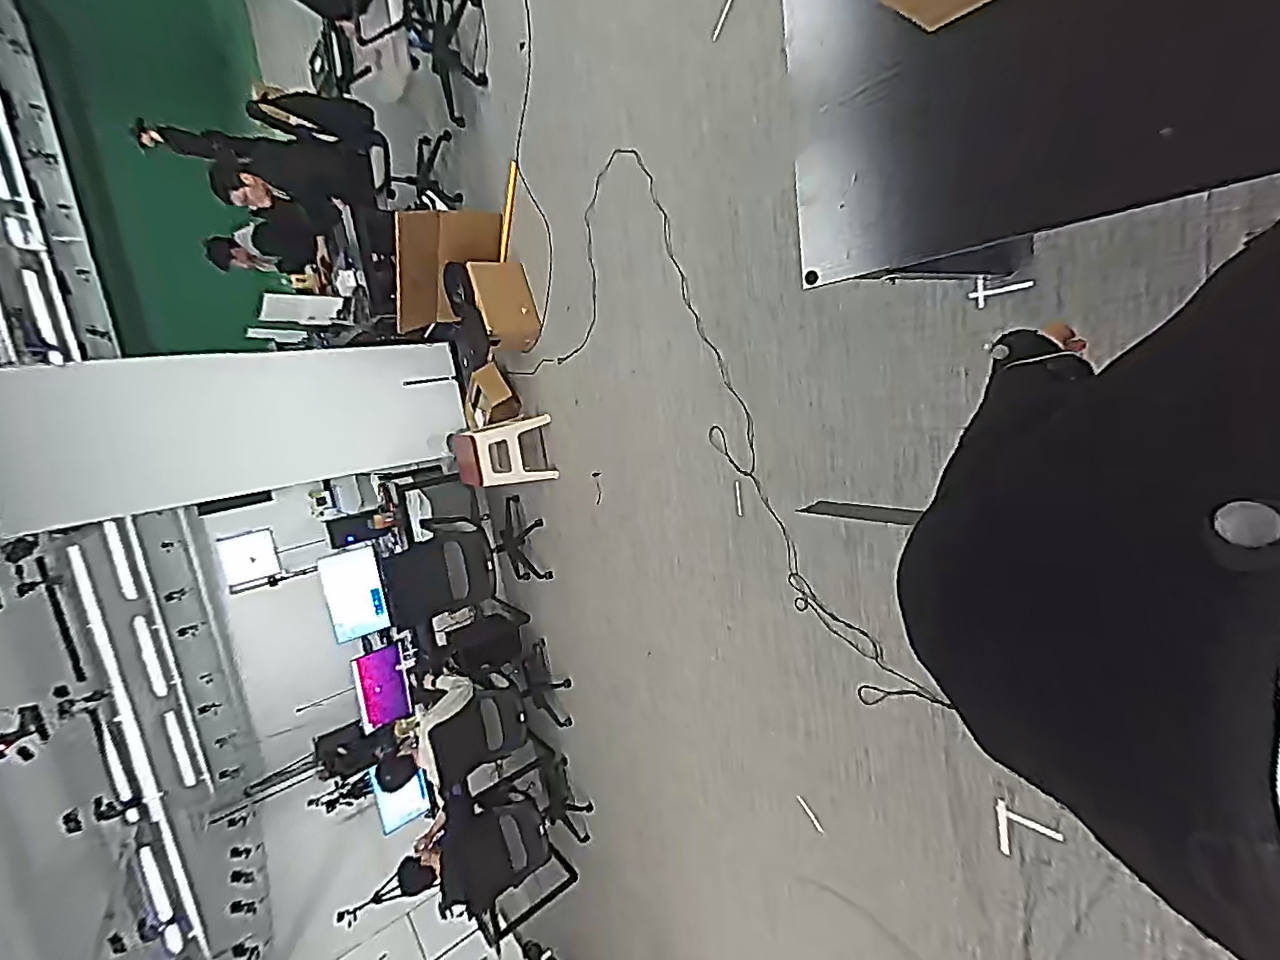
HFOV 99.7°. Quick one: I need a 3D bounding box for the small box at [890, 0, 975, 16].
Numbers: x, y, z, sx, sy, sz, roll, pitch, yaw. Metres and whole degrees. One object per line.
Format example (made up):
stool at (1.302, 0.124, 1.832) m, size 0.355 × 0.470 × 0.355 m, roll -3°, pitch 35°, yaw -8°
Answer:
small box at (0.345, -0.623, 0.552) m, size 0.168 × 0.176 × 0.179 m, roll 9°, pitch 109°, yaw 51°
